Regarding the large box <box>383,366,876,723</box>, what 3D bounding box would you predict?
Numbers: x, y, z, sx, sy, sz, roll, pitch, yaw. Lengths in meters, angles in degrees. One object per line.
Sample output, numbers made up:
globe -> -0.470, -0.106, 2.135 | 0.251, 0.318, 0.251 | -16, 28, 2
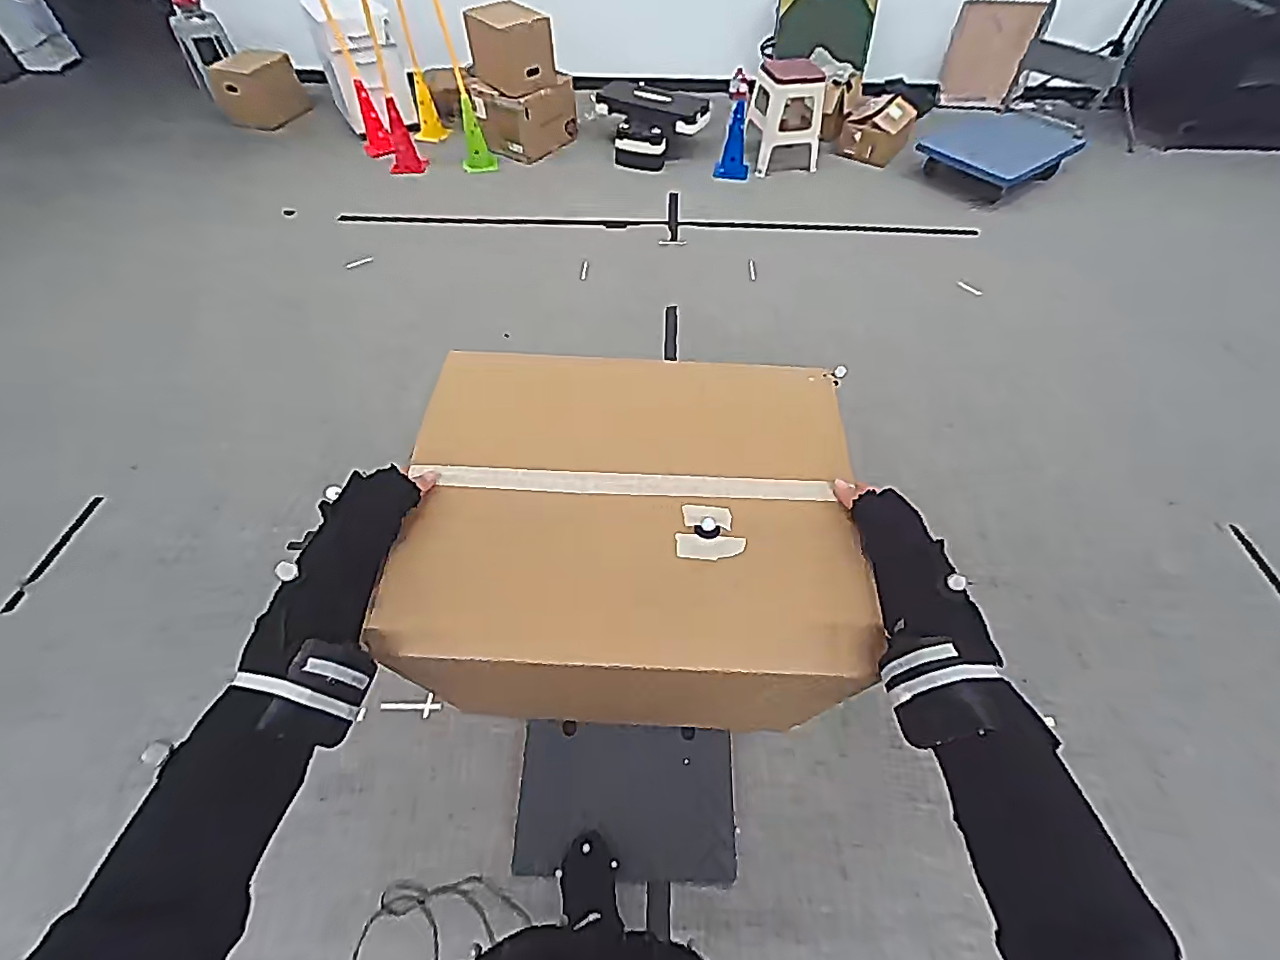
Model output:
large box -> -0.009, 0.091, 0.632 | 0.408, 0.320, 0.320 | 3, 59, 0

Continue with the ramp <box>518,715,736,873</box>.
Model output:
ramp -> -0.013, 0.416, 1.414 | 0.509, 0.206, 0.991 | 1, 53, -1
